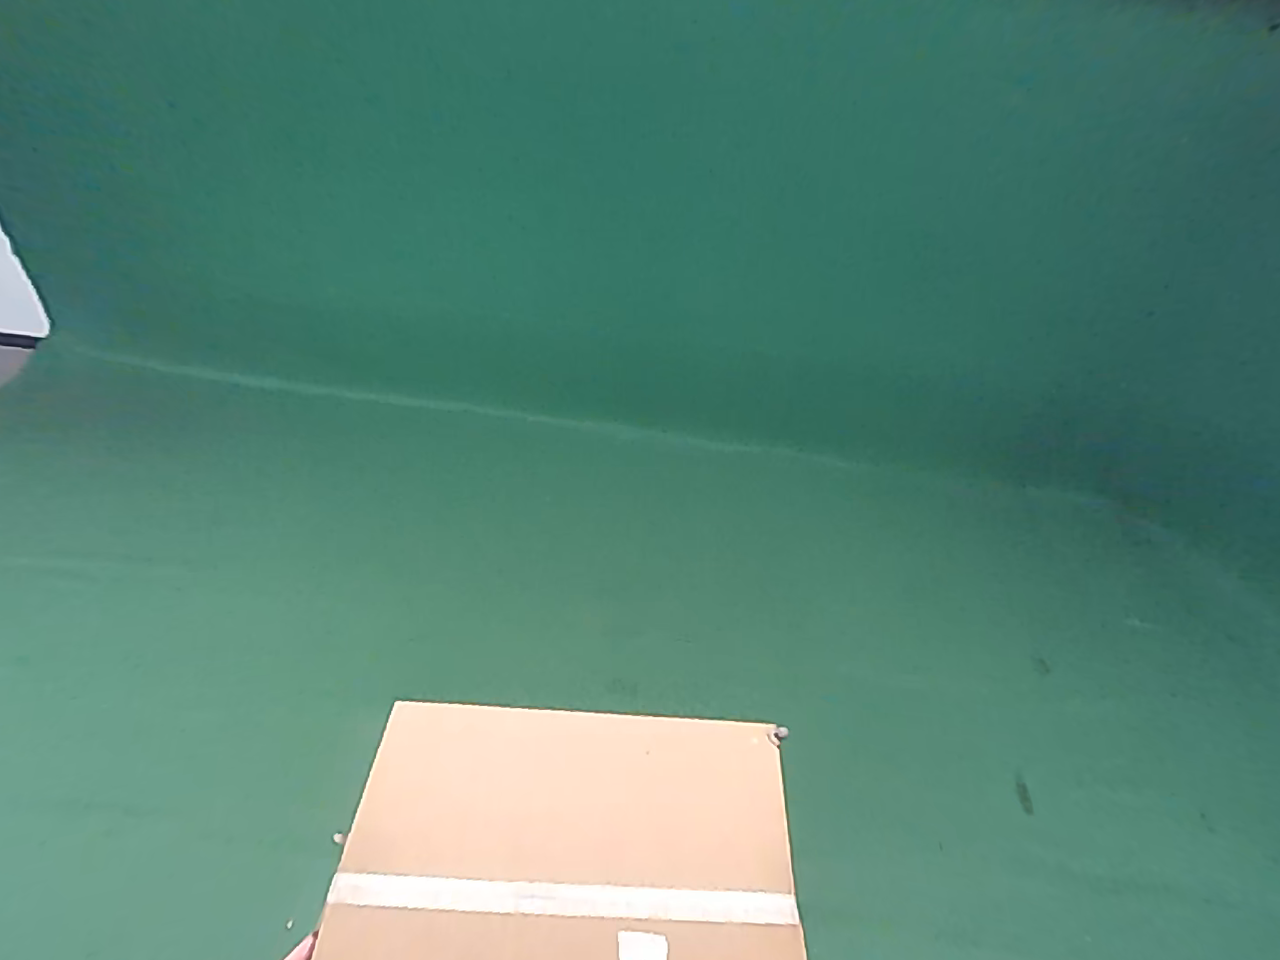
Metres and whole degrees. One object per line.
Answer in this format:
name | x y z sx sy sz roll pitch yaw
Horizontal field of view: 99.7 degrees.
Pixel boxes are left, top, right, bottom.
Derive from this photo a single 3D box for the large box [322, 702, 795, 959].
large box | -0.075 0.462 0.597 0.408 0.320 0.320 4 50 -2
